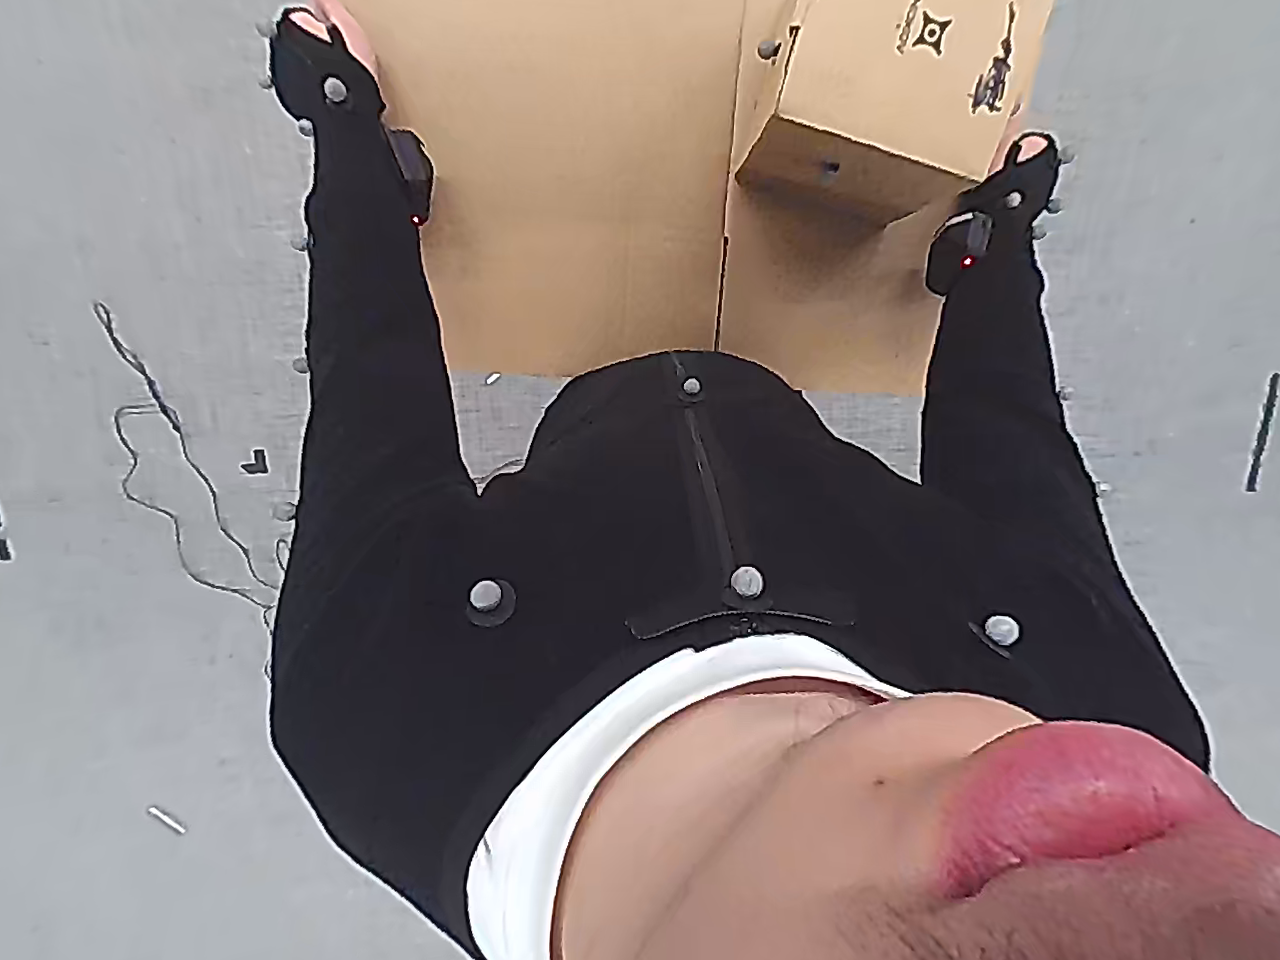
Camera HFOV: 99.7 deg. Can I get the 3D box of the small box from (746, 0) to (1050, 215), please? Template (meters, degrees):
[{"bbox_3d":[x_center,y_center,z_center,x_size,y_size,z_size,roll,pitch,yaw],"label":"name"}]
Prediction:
[{"bbox_3d":[0.207,-0.356,0.478,0.179,0.176,0.168,15,105,-3],"label":"small box"}]
